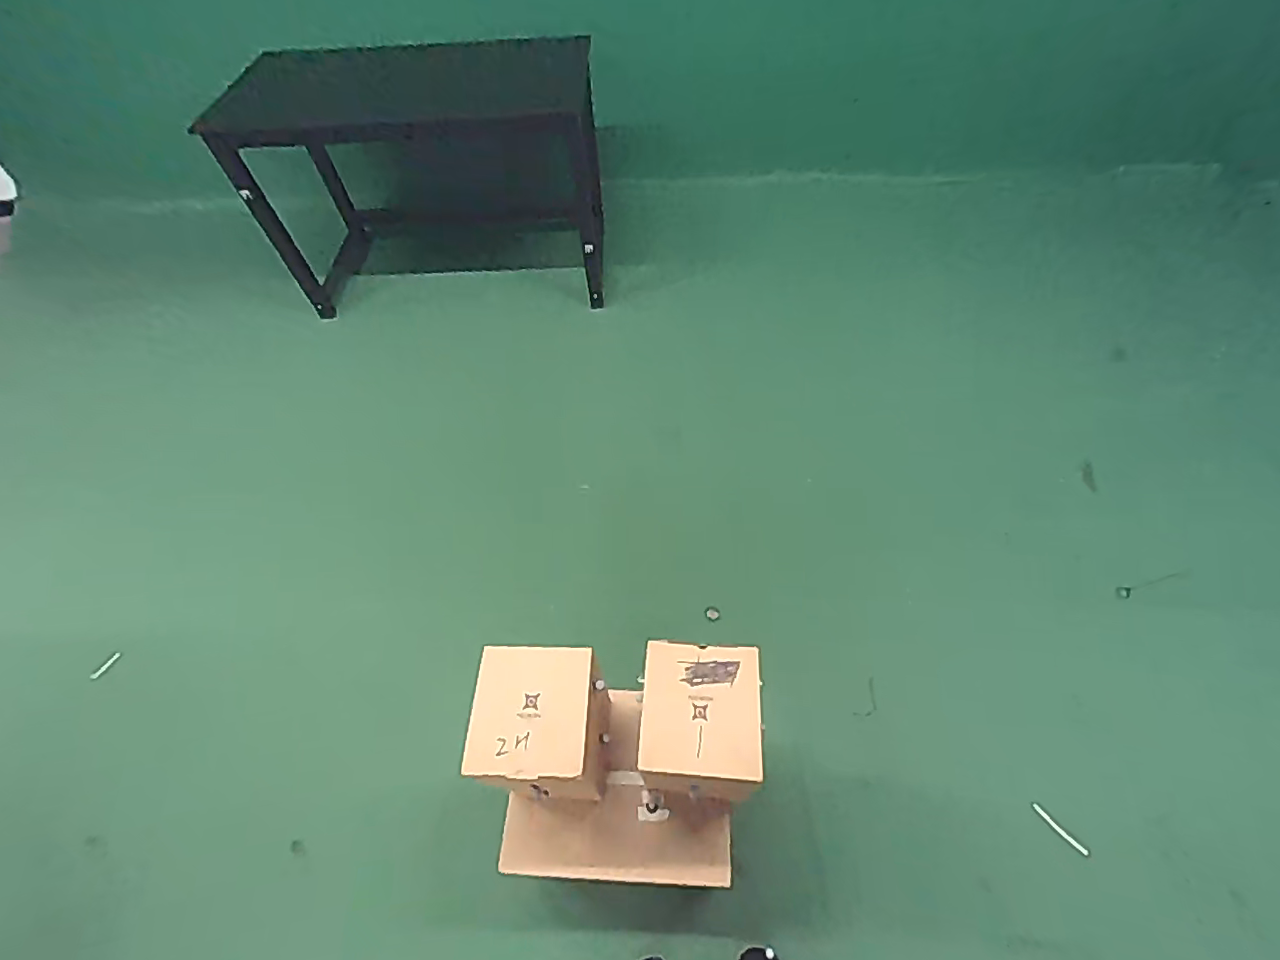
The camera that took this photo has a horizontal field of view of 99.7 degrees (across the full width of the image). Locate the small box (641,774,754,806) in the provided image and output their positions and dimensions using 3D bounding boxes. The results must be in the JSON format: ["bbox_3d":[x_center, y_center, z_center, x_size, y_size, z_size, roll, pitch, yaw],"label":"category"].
[{"bbox_3d":[0.103,0.457,0.938,0.179,0.176,0.168,3,55,8],"label":"small box"}]

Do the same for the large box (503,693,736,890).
[{"bbox_3d":[-0.029,0.640,1.116,0.408,0.320,0.320,1,56,3],"label":"large box"}]

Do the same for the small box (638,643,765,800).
[{"bbox_3d":[0.091,0.360,0.803,0.168,0.176,0.179,2,56,7],"label":"small box"}]

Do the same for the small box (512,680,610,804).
[{"bbox_3d":[-0.145,0.460,0.954,0.168,0.176,0.179,1,55,4],"label":"small box"}]

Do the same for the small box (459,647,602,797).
[{"bbox_3d":[-0.150,0.367,0.817,0.168,0.176,0.179,0,55,4],"label":"small box"}]
